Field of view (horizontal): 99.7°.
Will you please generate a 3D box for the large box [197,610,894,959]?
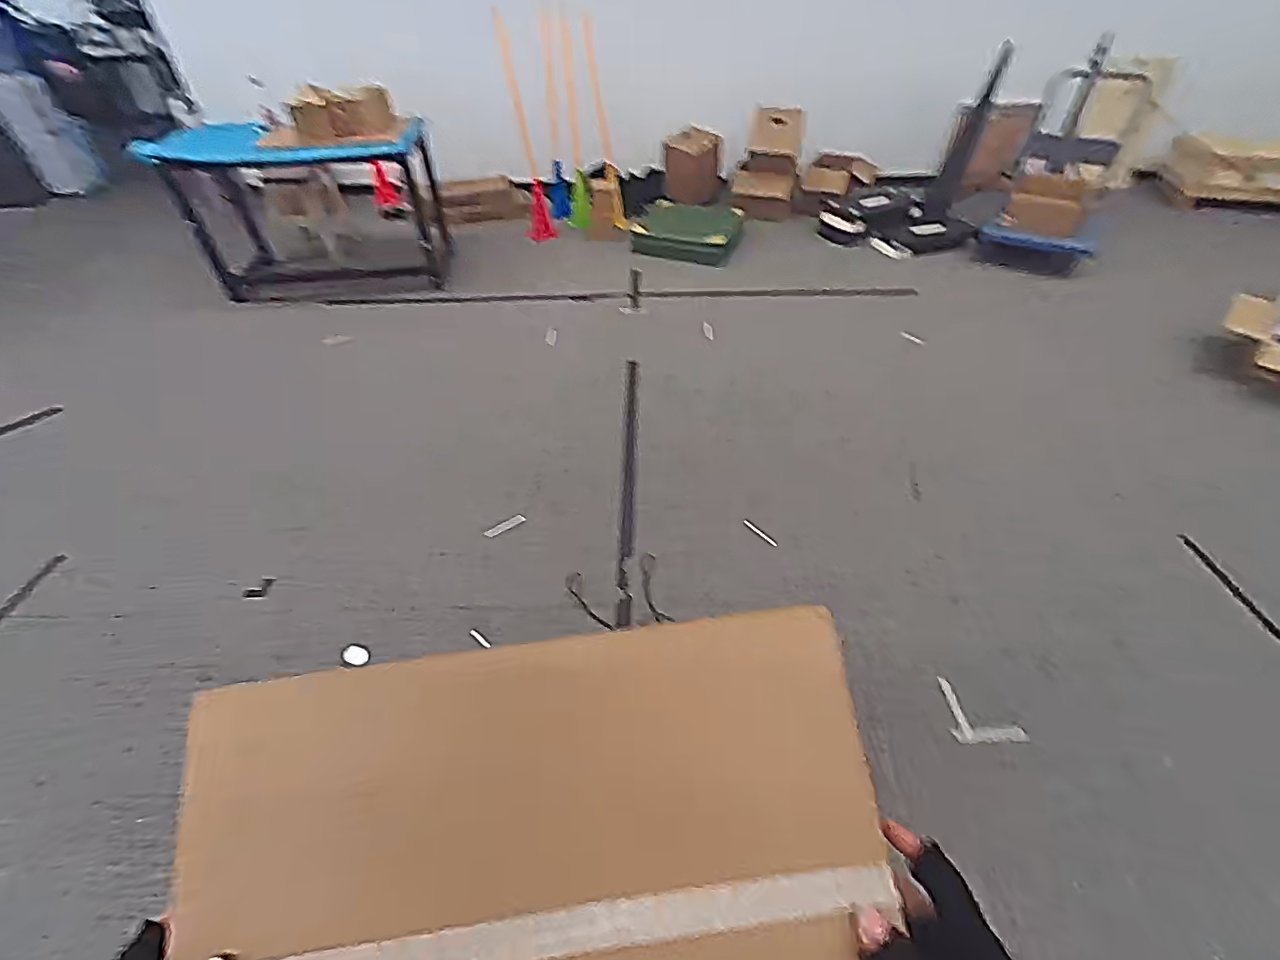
[{"bbox_3d":[-0.057,0.304,0.454,0.408,0.320,0.320,-8,74,-2],"label":"large box"}]
